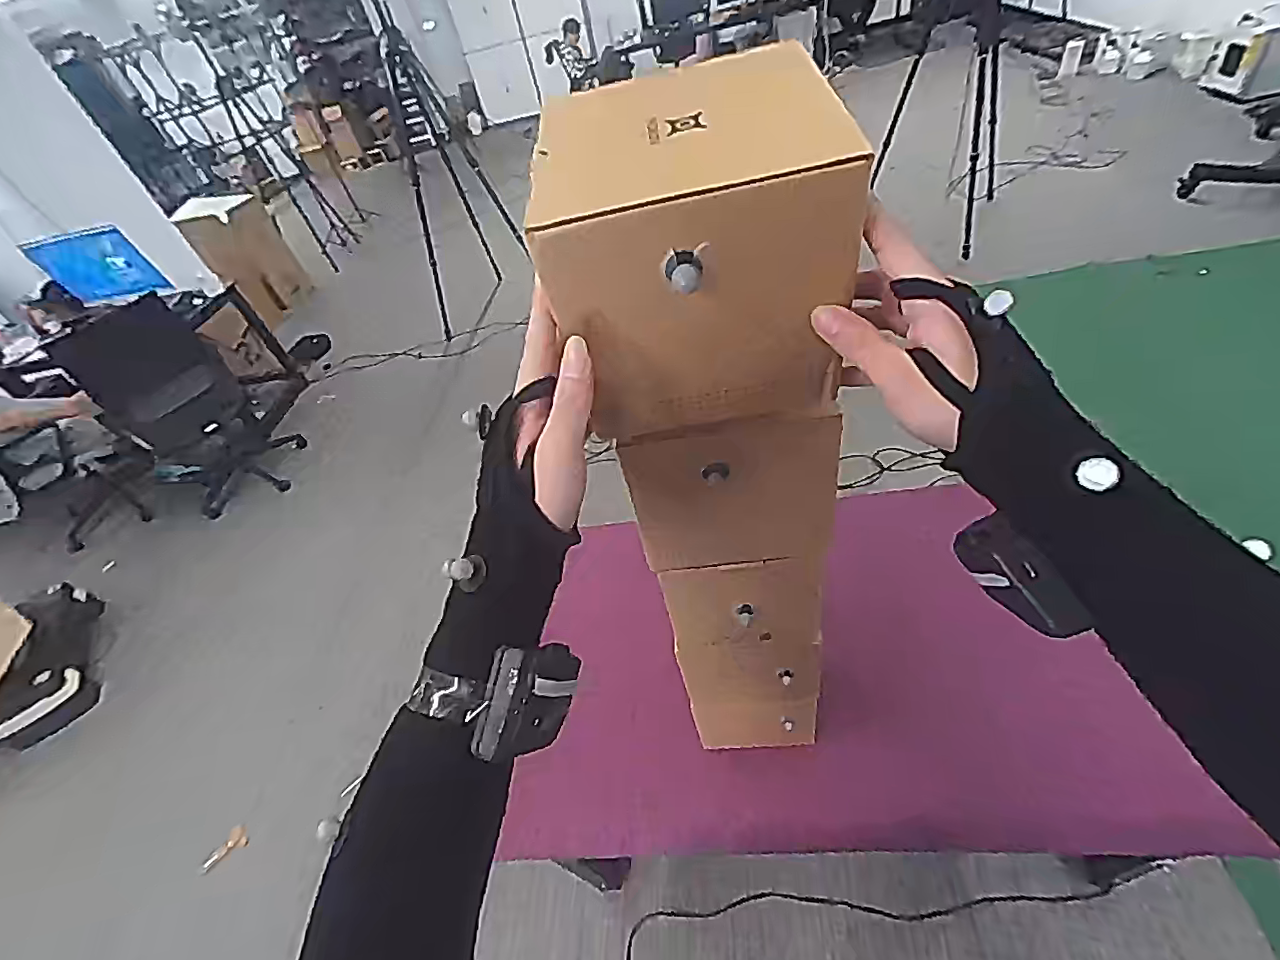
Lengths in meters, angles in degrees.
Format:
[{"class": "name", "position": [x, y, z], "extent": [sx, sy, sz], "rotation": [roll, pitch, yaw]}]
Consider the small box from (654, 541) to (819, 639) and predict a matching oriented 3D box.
[{"class": "small box", "position": [0.111, 0.075, 0.641], "extent": [0.168, 0.176, 0.179], "rotation": [-7, 45, 8]}]

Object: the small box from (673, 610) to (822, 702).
[{"class": "small box", "position": [0.144, 0.193, 0.748], "extent": [0.179, 0.176, 0.168], "rotation": [-7, 44, 10]}]

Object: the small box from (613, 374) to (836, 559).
[{"class": "small box", "position": [0.080, -0.038, 0.524], "extent": [0.179, 0.176, 0.168], "rotation": [-7, 44, 8]}]

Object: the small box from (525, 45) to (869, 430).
[{"class": "small box", "position": [0.038, -0.157, 0.378], "extent": [0.179, 0.176, 0.168], "rotation": [-9, 52, 8]}]
